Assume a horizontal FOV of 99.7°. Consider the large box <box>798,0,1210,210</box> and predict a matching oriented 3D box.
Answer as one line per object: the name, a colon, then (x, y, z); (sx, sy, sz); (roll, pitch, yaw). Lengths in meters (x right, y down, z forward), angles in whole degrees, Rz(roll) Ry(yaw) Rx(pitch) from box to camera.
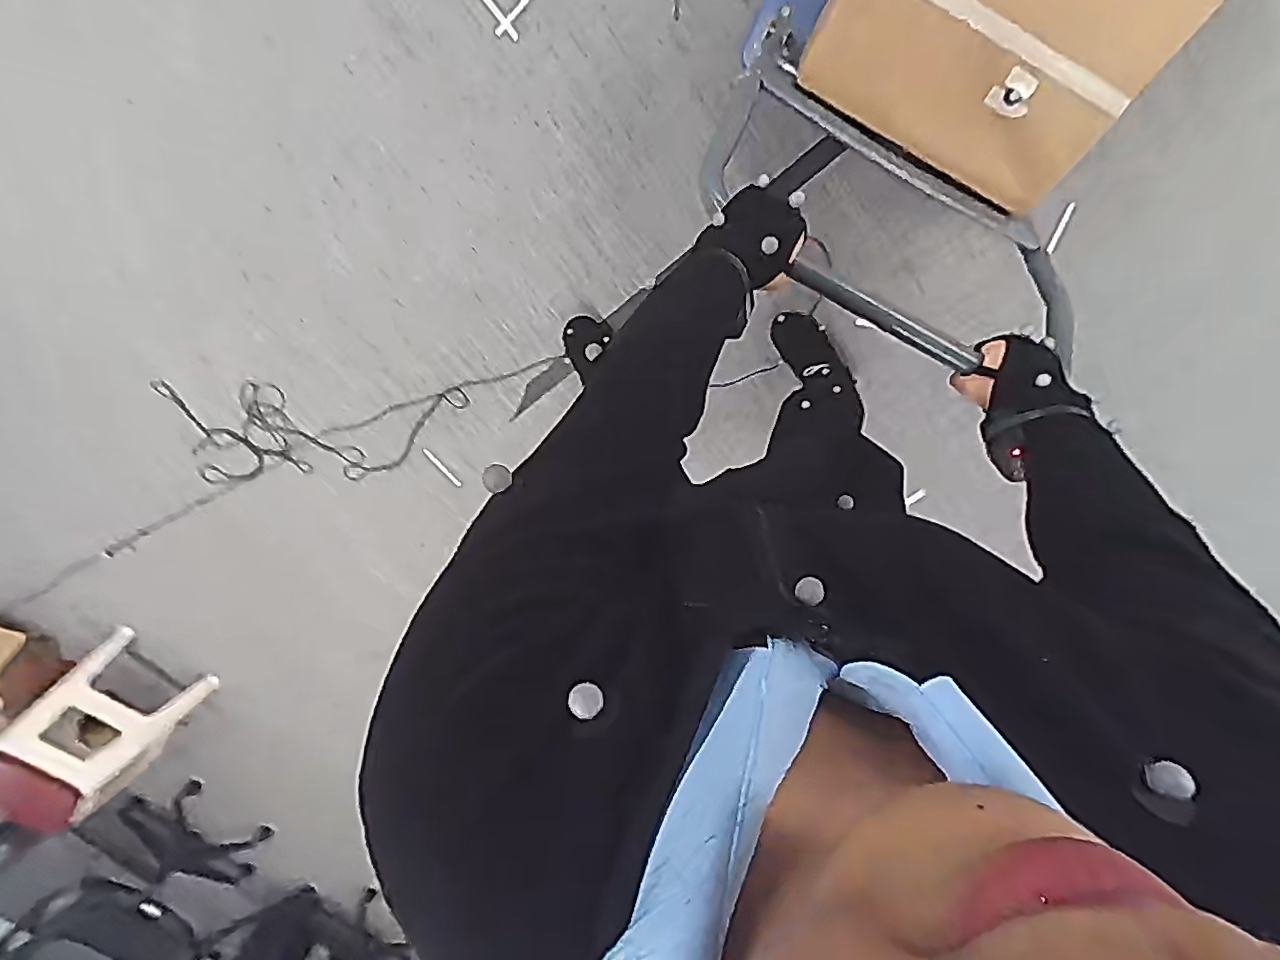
large box: (0.492, -0.688, 0.809); (0.408, 0.320, 0.320); (25, 136, -7)
